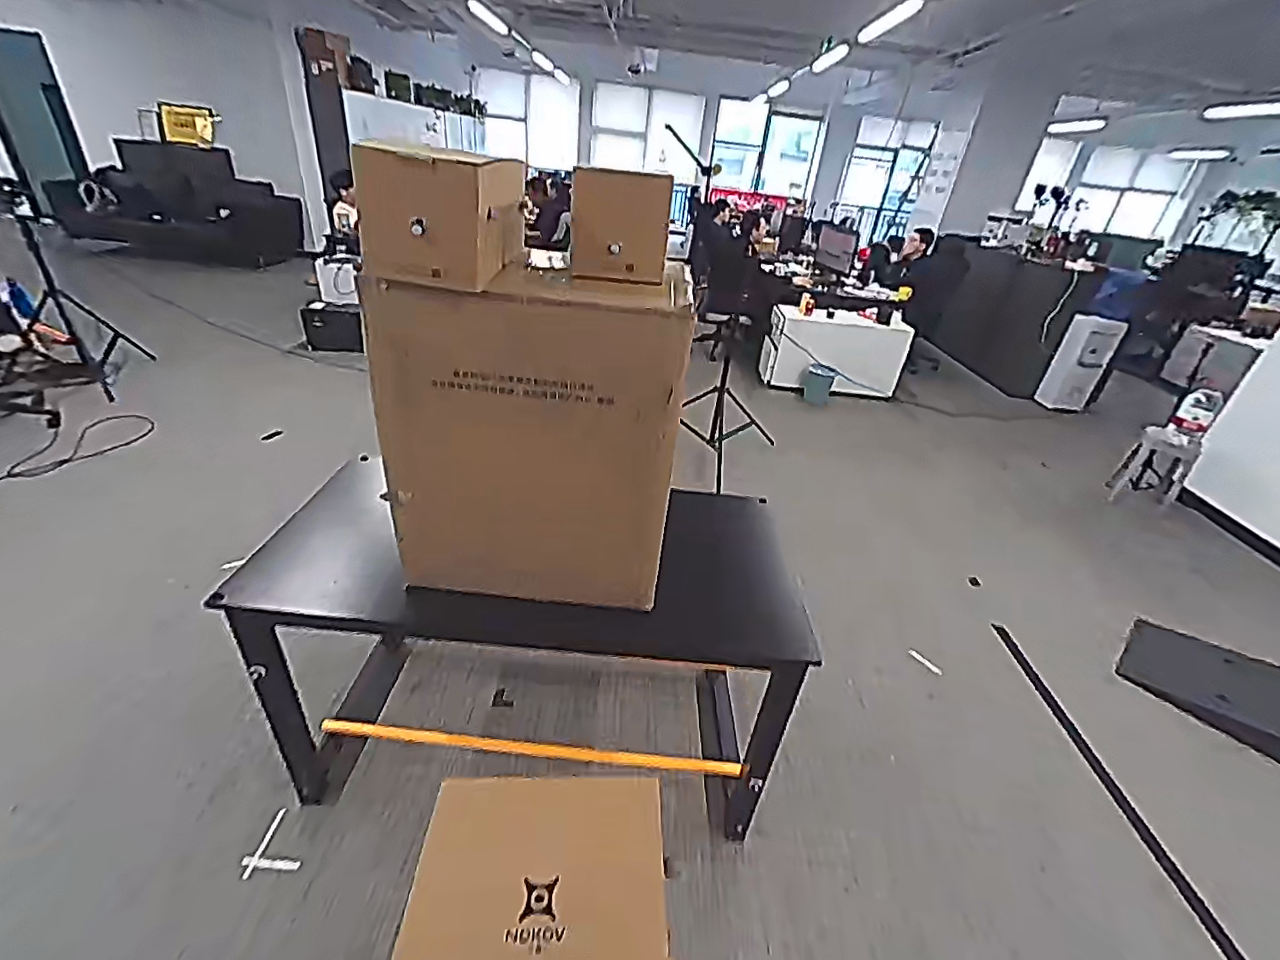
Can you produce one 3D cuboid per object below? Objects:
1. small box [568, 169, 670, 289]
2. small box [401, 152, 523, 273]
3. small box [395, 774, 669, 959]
[{"bbox_3d":[-0.039,-0.450,0.967,0.168,0.176,0.179,3,30,-3],"label":"small box"},{"bbox_3d":[-0.311,-0.483,0.978,0.168,0.176,0.179,5,30,-2],"label":"small box"},{"bbox_3d":[-0.067,0.342,0.386,0.168,0.176,0.179,0,31,-2],"label":"small box"}]
